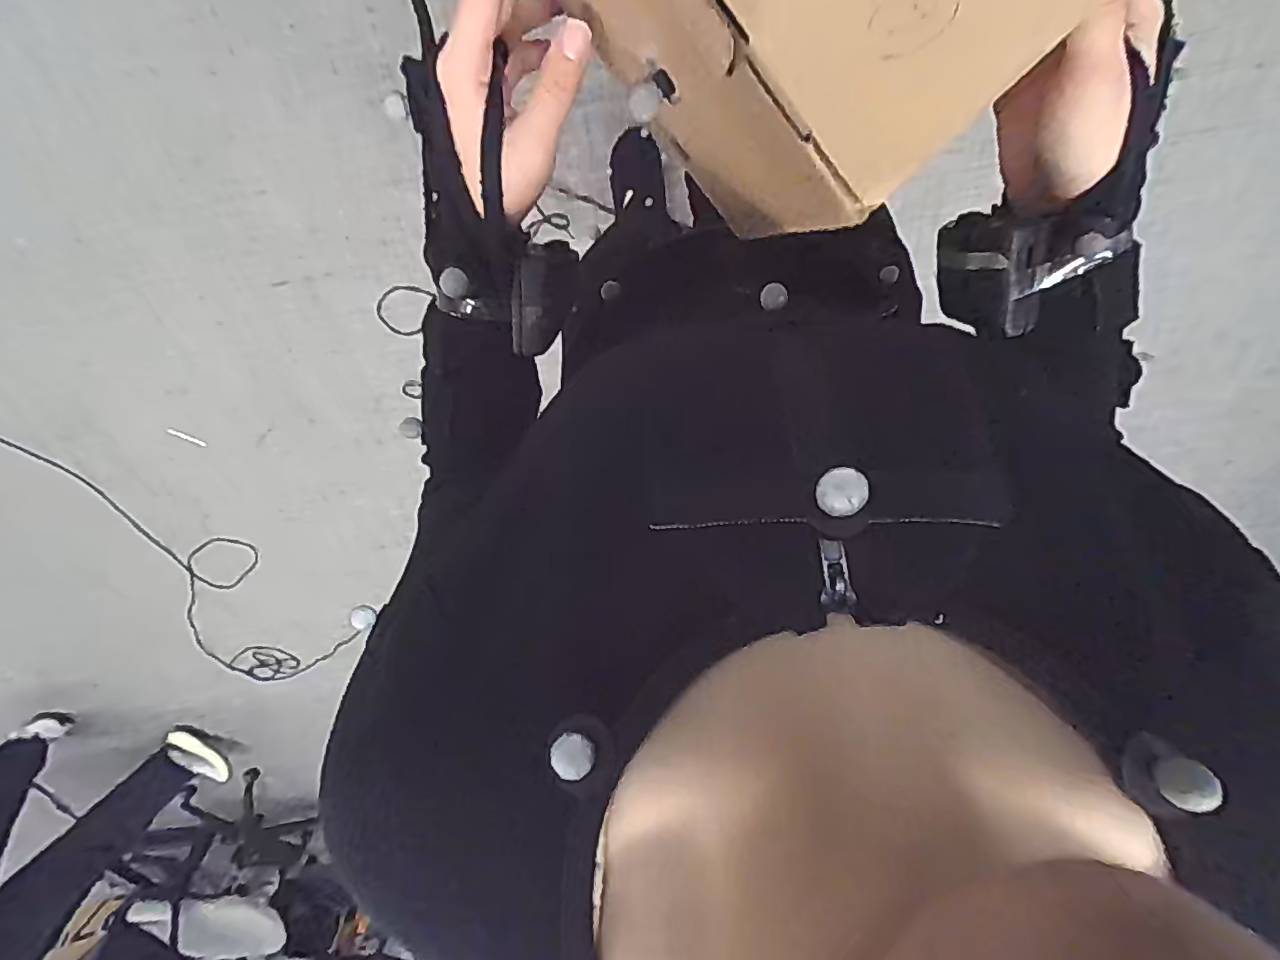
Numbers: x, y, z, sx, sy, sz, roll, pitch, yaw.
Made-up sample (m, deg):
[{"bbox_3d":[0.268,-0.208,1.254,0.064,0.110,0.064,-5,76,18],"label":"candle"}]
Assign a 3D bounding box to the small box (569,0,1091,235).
[{"bbox_3d":[0.074,-0.224,0.218,0.179,0.176,0.168,-42,107,13],"label":"small box"}]
